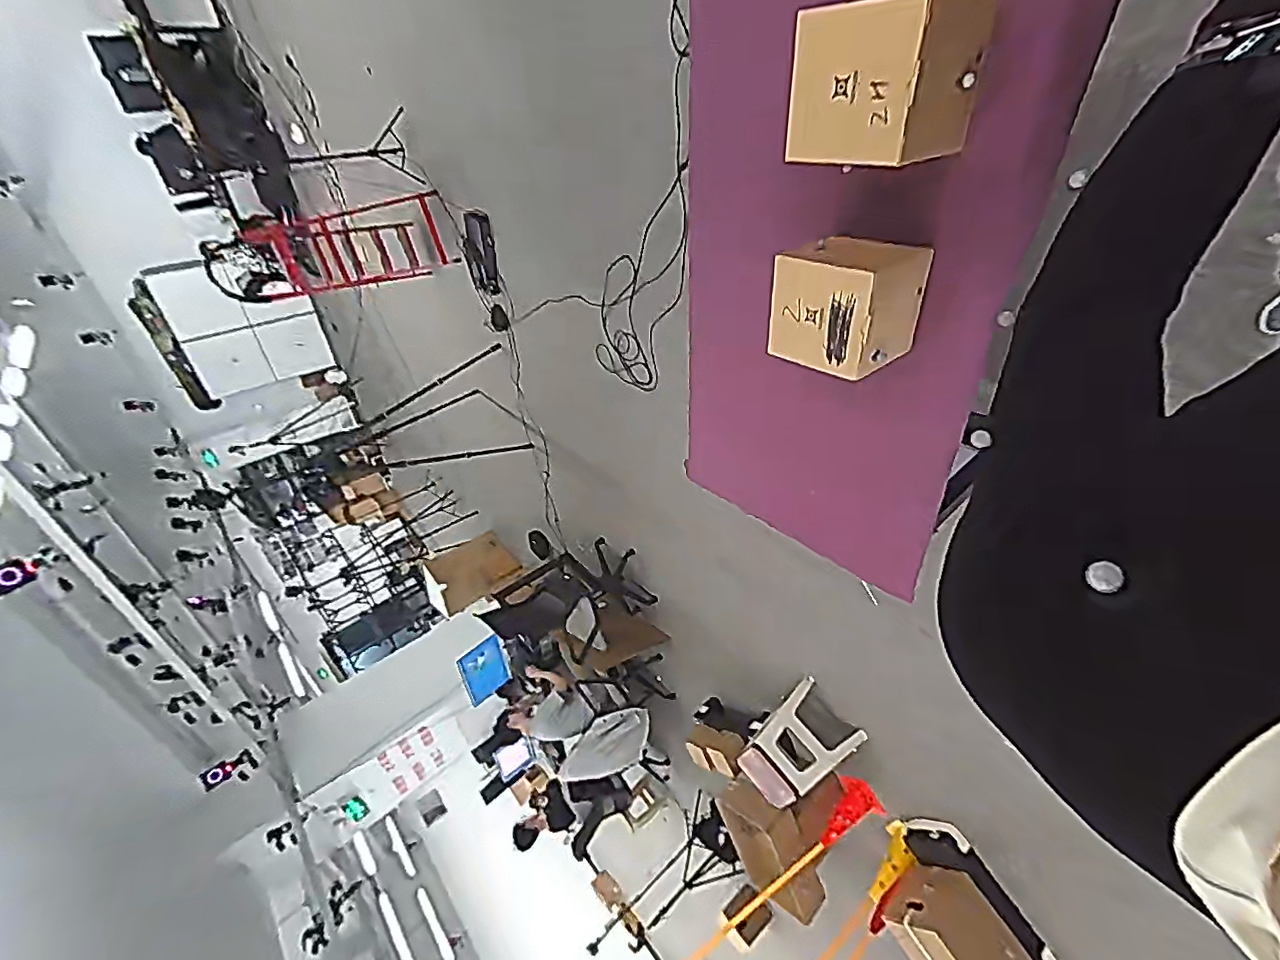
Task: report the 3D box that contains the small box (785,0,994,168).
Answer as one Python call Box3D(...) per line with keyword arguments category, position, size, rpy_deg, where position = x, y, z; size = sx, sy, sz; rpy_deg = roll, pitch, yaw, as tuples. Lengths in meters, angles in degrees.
Box3D(category="small box", position=(0.322, -0.522, 0.717), size=(0.179, 0.176, 0.168), rpy_deg=(33, 140, 39))
